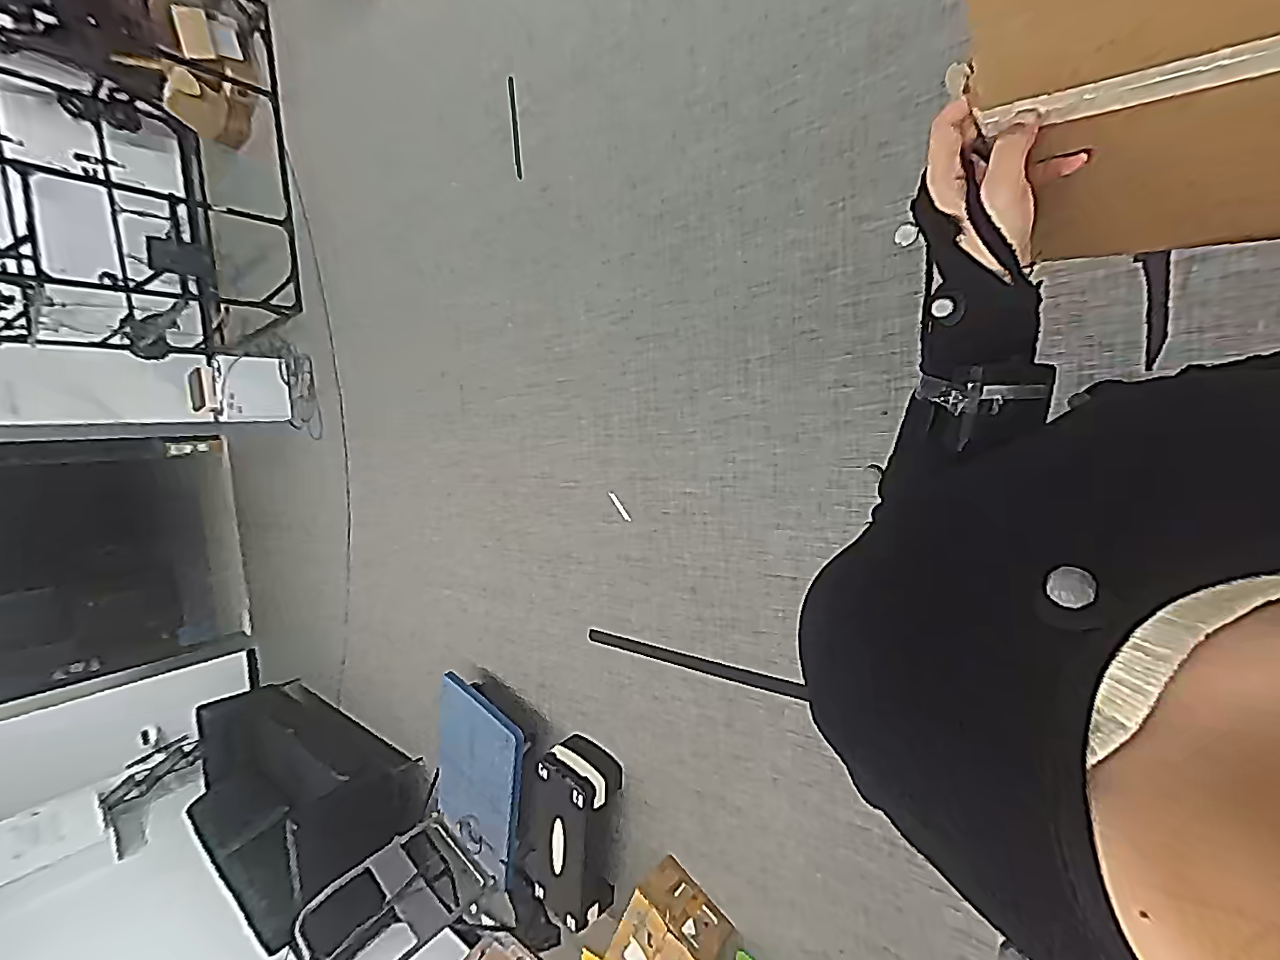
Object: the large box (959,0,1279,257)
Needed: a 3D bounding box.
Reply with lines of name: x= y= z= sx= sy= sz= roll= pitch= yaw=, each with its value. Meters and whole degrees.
large box: x=0.401 y=-0.346 z=0.229 sx=0.408 sy=0.320 sz=0.320 roll=10 pitch=81 yaw=41
